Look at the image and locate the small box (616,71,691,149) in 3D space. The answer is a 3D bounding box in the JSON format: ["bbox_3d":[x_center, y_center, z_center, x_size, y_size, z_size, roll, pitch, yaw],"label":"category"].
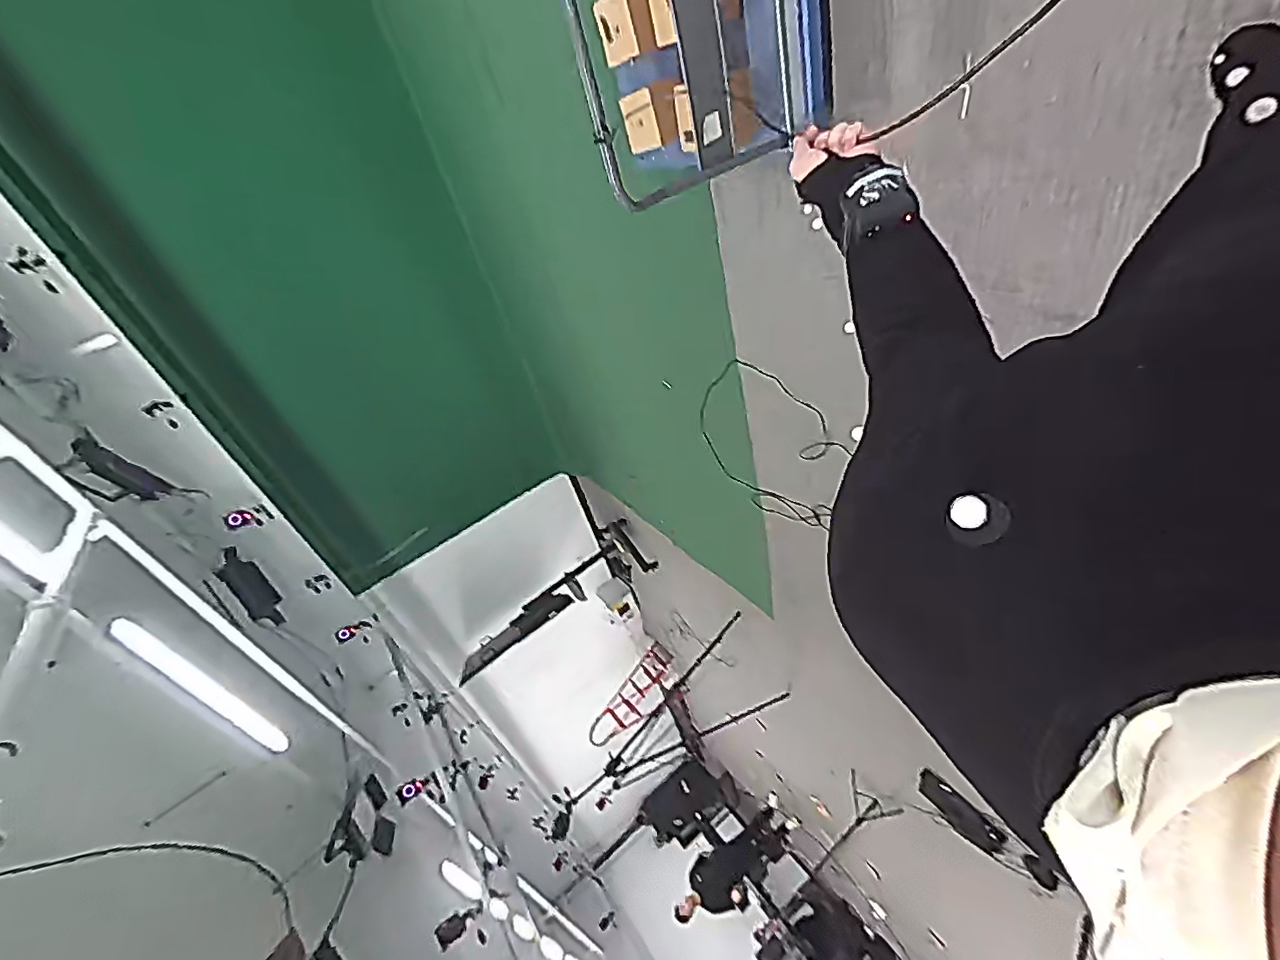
[{"bbox_3d":[0.053,-1.239,1.813,0.179,0.176,0.168,29,146,50],"label":"small box"}]

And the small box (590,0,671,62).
[{"bbox_3d":[-0.021,-1.439,1.679,0.179,0.176,0.168,28,146,49],"label":"small box"}]

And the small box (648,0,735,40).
[{"bbox_3d":[0.136,-1.341,1.483,0.179,0.176,0.168,32,148,46],"label":"small box"}]
